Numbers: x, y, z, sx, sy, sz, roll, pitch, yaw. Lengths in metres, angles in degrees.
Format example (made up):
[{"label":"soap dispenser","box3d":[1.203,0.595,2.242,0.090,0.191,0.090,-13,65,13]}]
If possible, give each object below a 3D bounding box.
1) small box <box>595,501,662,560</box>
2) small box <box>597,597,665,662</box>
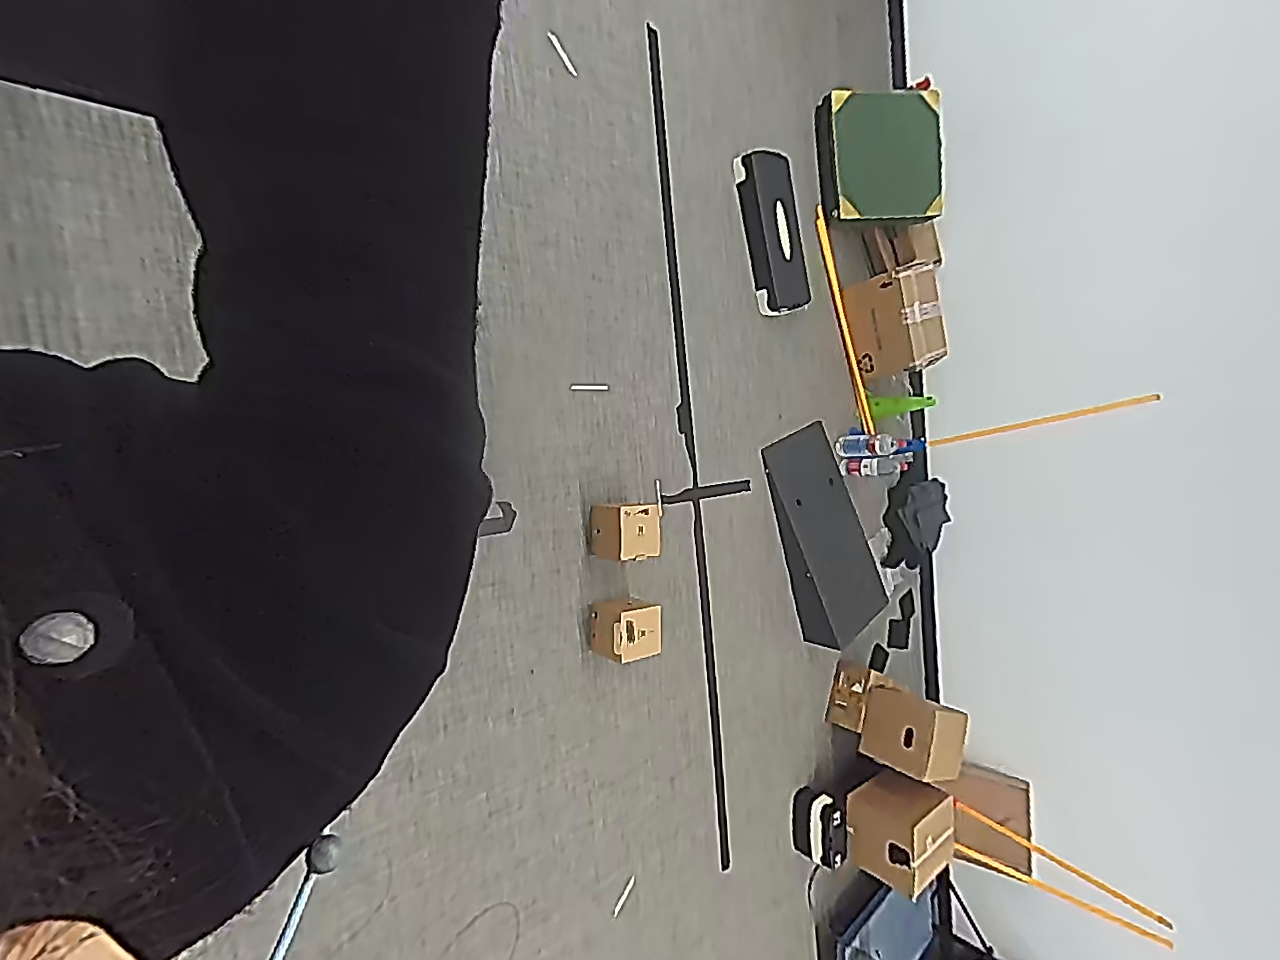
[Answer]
[{"label":"small box","box3d":[-0.041,0.166,1.820,0.168,0.176,0.179,-2,92,-39]},{"label":"small box","box3d":[-0.034,0.498,1.825,0.179,0.176,0.168,-1,91,-40]}]
